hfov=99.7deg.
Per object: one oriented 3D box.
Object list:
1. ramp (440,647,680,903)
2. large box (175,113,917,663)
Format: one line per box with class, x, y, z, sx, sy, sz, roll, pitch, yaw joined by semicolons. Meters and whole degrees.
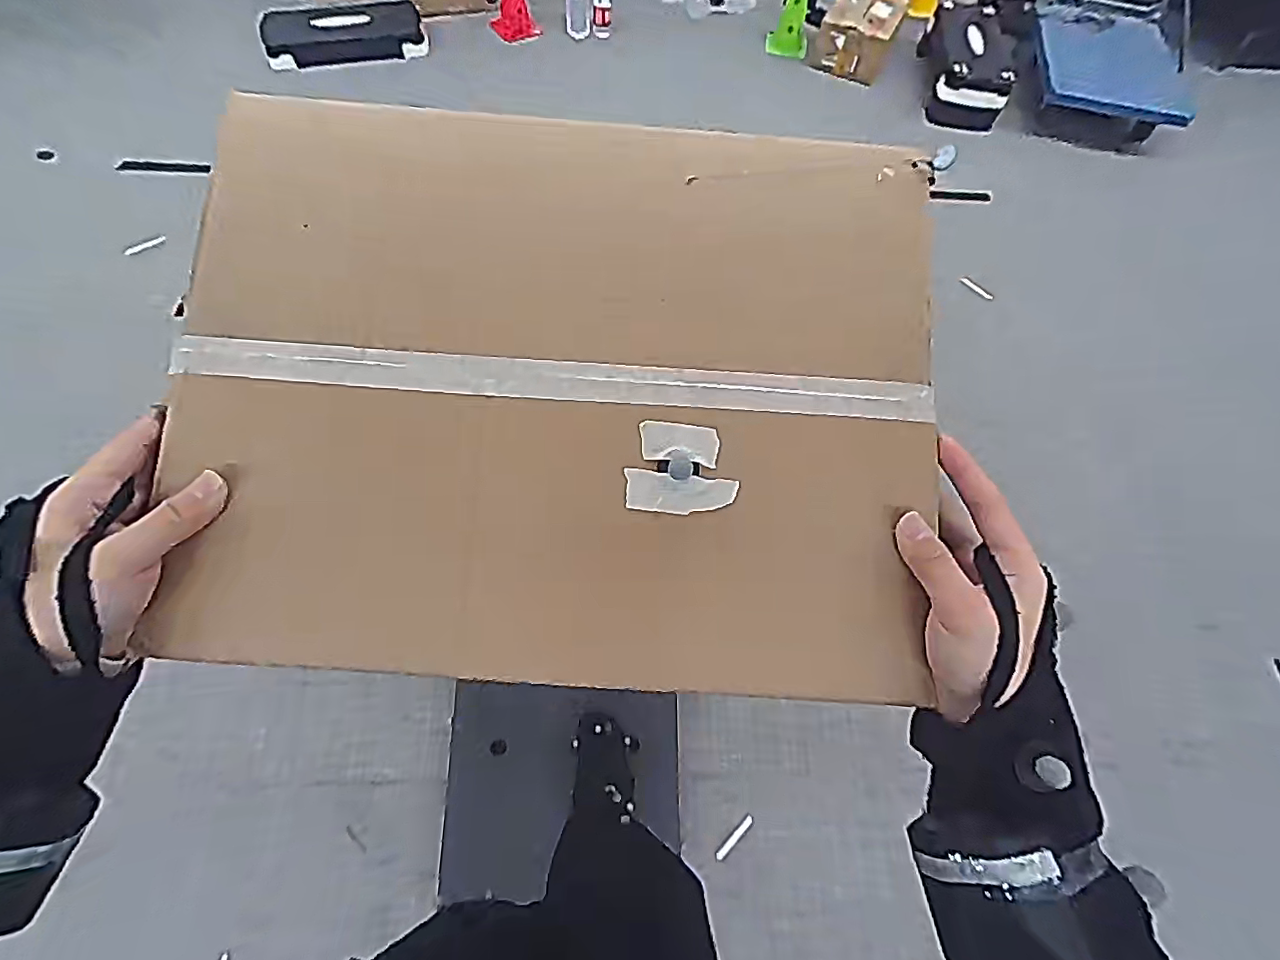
ramp;-0.155;0.372;1.233;0.509;0.206;0.991;0;64;-4
large box;-0.045;-0.040;0.456;0.408;0.320;0.320;4;83;-1
